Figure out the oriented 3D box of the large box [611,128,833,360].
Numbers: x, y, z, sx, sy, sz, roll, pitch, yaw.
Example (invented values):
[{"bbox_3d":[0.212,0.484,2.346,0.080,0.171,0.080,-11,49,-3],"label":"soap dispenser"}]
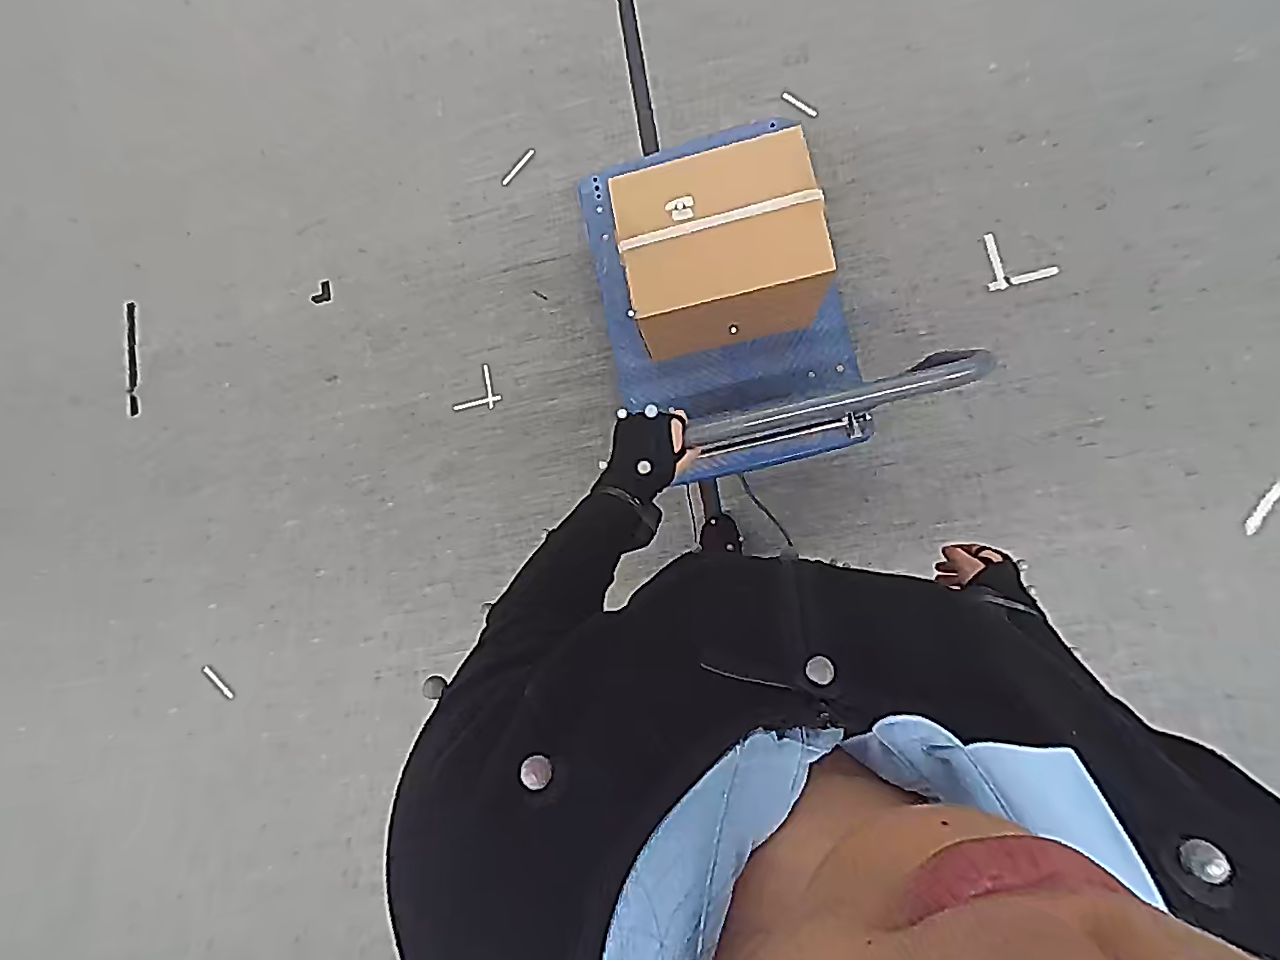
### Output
[{"bbox_3d":[0.183,-0.507,1.242,0.408,0.320,0.320,-12,83,9],"label":"large box"}]
